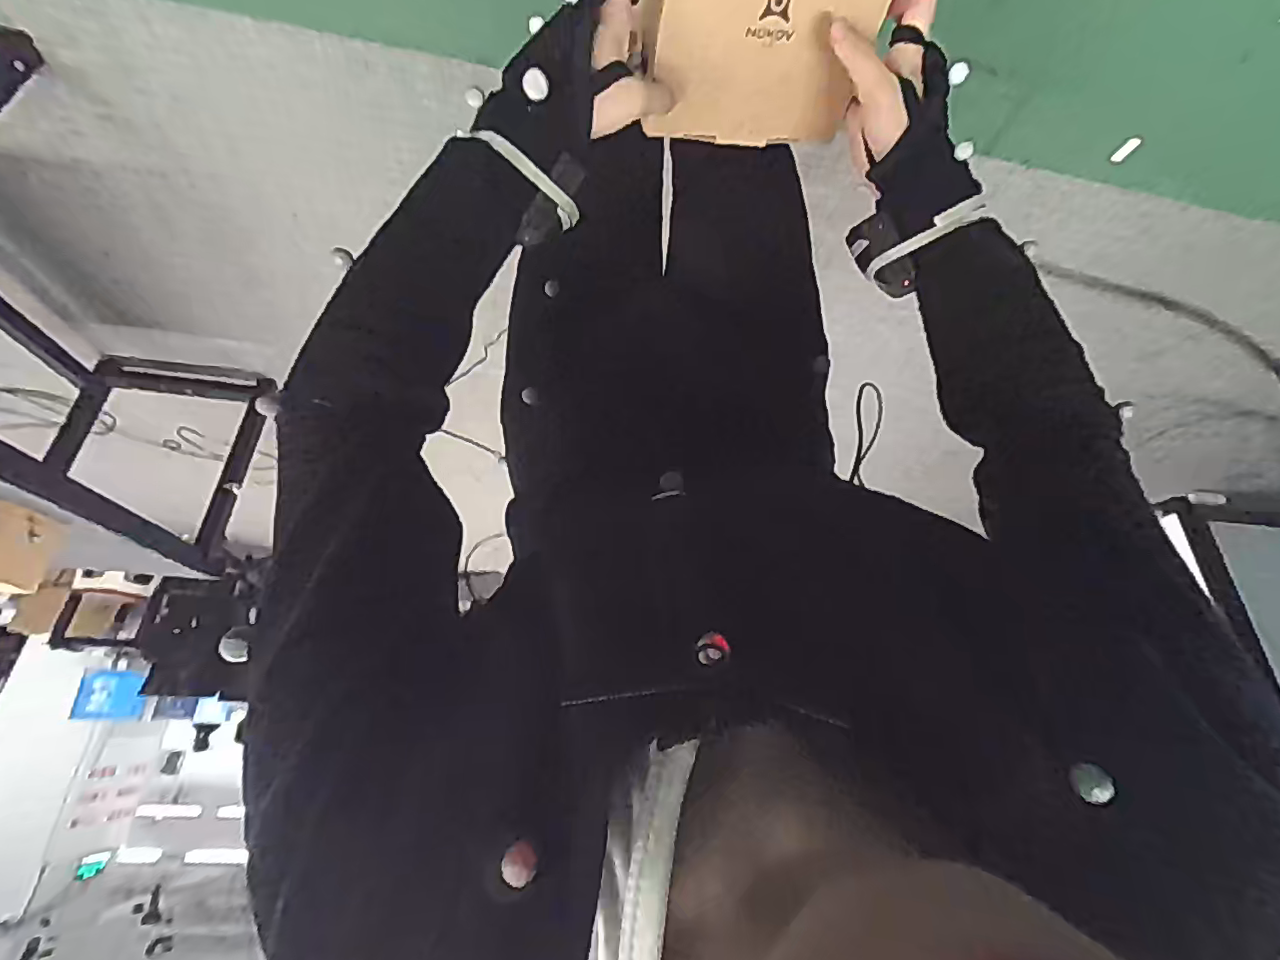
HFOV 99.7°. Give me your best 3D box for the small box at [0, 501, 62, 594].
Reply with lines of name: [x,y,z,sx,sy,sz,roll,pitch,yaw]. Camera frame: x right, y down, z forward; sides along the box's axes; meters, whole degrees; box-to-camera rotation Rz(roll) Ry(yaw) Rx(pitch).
small box: [-1.448,0.140,1.176,0.179,0.176,0.168,7,155,-9]
